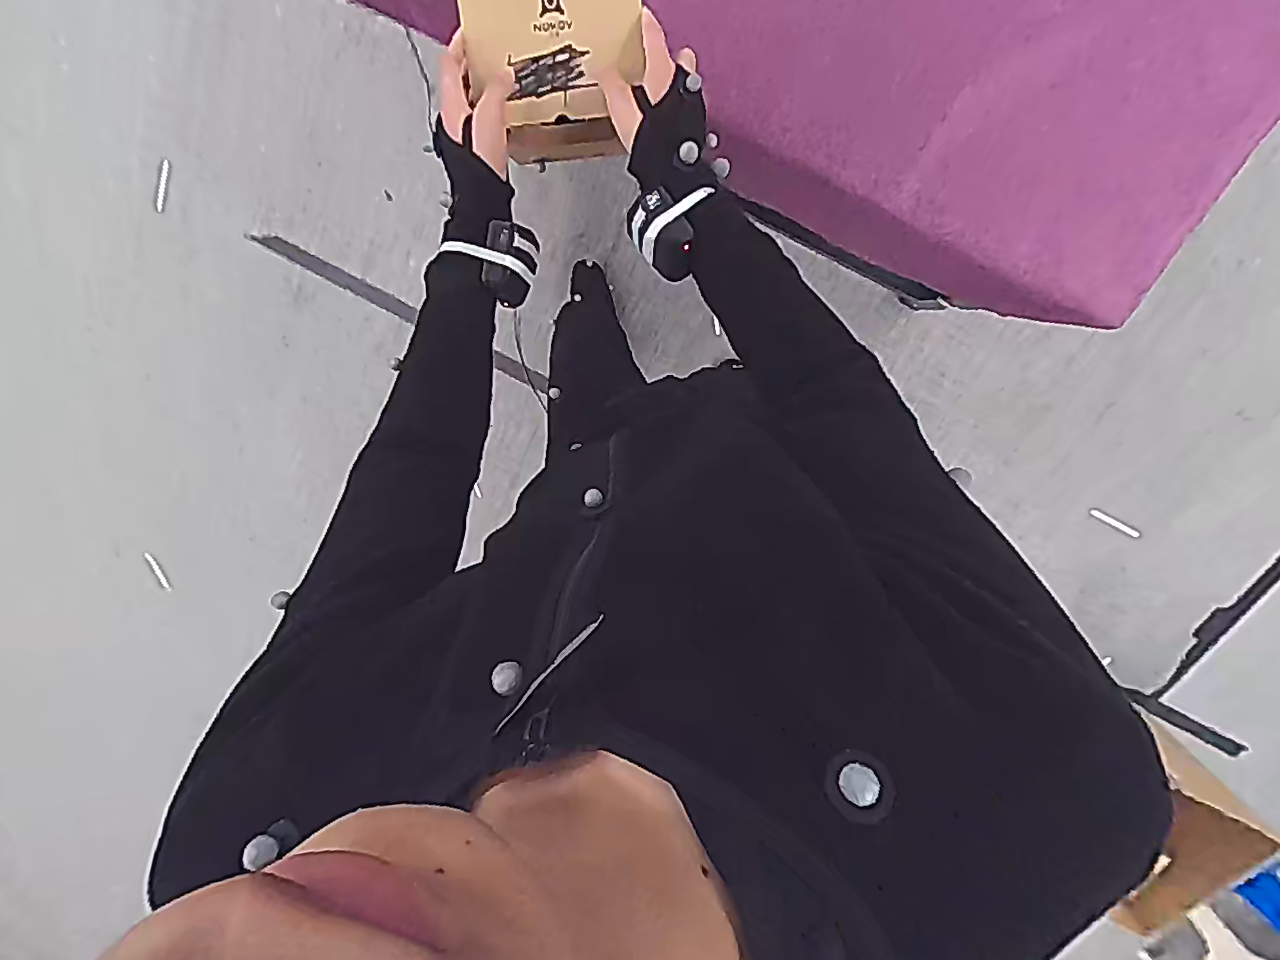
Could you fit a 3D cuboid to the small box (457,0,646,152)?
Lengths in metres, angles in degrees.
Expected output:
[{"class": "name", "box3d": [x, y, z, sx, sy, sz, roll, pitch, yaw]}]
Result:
[{"class": "small box", "box3d": [-0.080, -0.455, 0.559, 0.168, 0.176, 0.179, -4, 110, 2]}]
